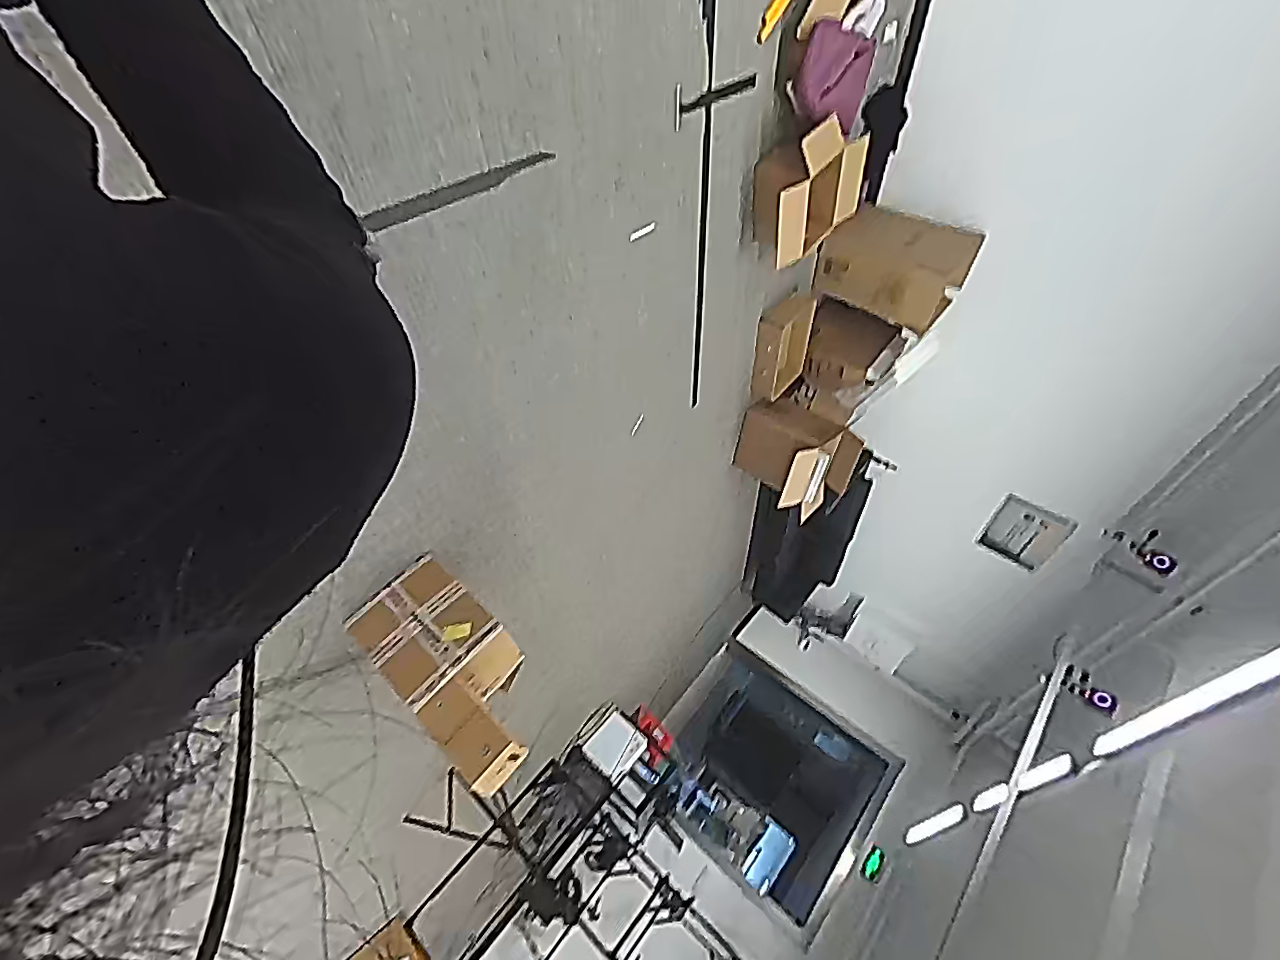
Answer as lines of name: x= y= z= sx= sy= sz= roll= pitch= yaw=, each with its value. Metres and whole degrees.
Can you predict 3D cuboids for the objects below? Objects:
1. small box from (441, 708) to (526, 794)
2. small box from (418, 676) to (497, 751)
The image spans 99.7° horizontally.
small box: x=-0.511 y=0.883 z=1.768 sx=0.179 sy=0.176 sz=0.168 roll=-45 pitch=146 yaw=-21
small box: x=-0.633 y=0.814 z=1.856 sx=0.179 sy=0.176 sz=0.168 roll=-45 pitch=146 yaw=-21
